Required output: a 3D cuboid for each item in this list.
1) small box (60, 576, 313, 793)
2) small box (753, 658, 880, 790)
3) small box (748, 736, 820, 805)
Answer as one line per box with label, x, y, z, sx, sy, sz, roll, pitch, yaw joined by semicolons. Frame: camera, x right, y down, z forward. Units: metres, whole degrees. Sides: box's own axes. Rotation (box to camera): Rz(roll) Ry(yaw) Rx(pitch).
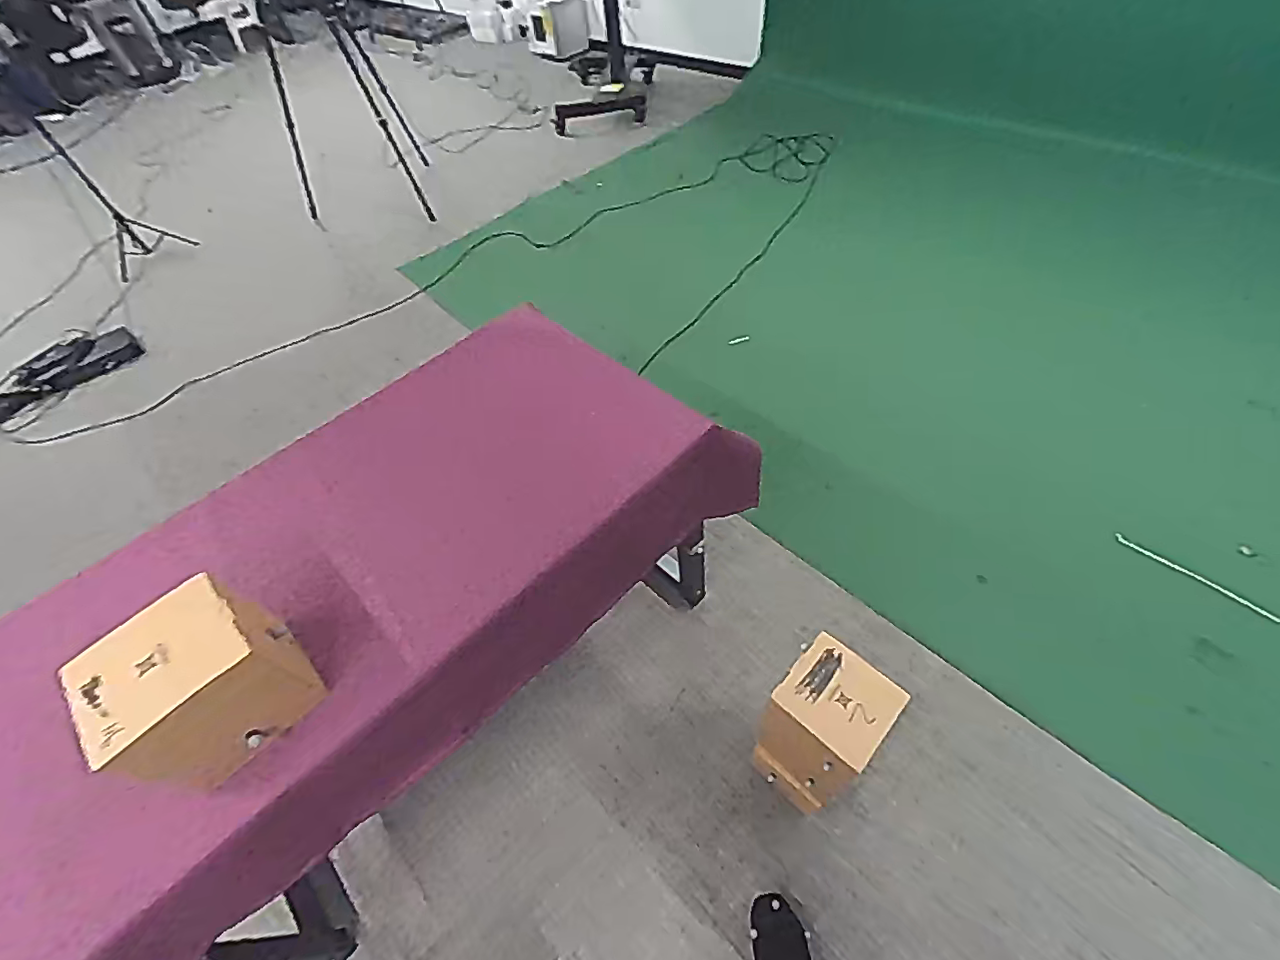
small box;-0.563;0.265;0.698;0.168;0.176;0.179;35;63;28
small box;0.356;0.510;1.119;0.168;0.176;0.179;-39;58;-23
small box;0.365;0.613;1.245;0.168;0.176;0.179;35;64;27
